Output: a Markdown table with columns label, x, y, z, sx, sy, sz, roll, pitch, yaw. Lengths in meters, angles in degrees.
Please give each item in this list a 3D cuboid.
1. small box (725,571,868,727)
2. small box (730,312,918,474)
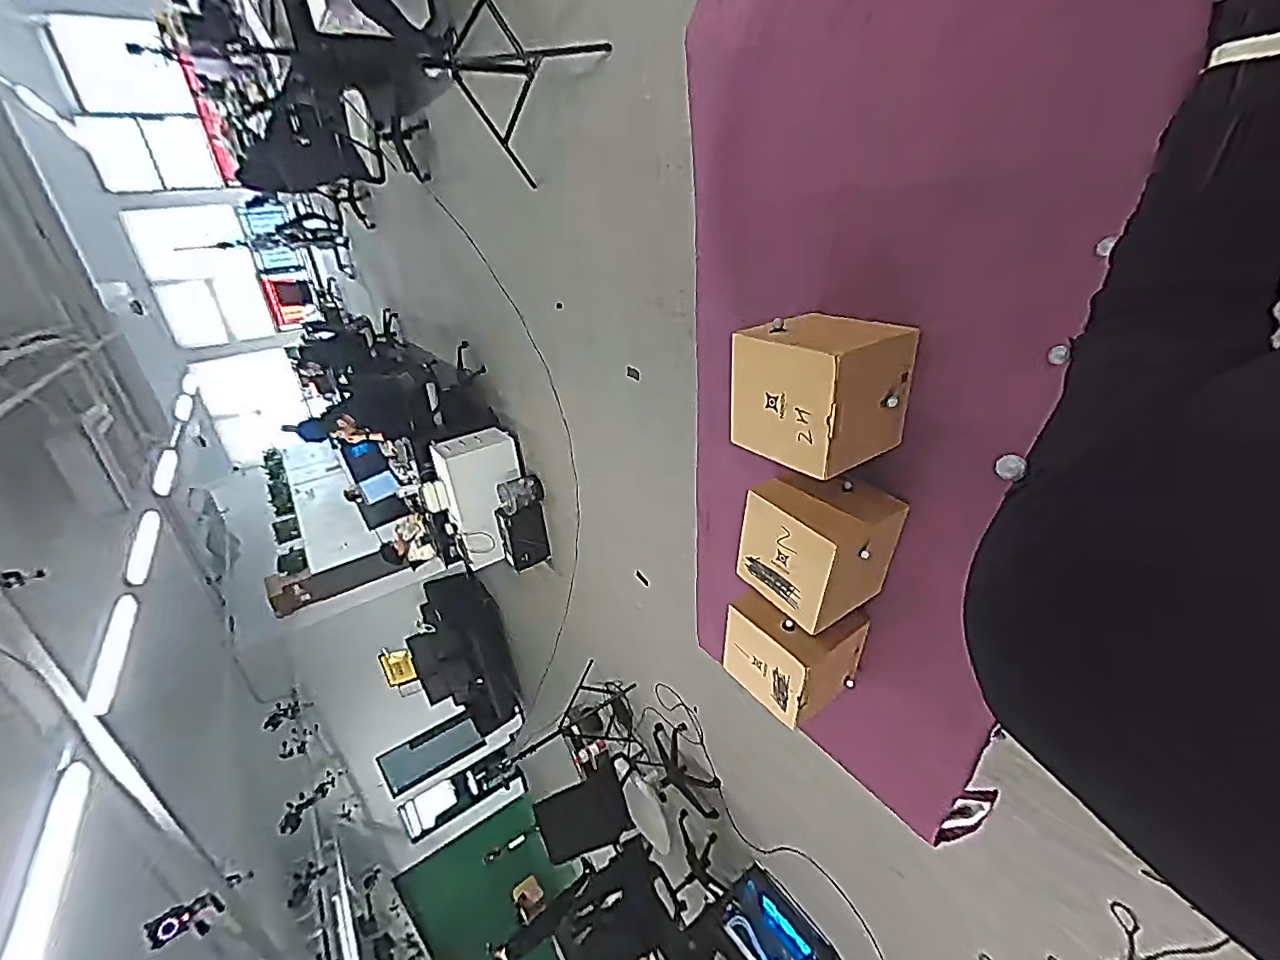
| label | x | y | z | sx | sy | sz | roll | pitch | yaw |
| --- | --- | --- | --- | --- | --- | --- | --- | --- | --- |
| small box | 0.278 | 0.291 | 0.972 | 0.179 | 0.176 | 0.168 | 36 | 137 | 45 |
| small box | 0.247 | -0.132 | 0.751 | 0.179 | 0.176 | 0.168 | 31 | 135 | 48 |
